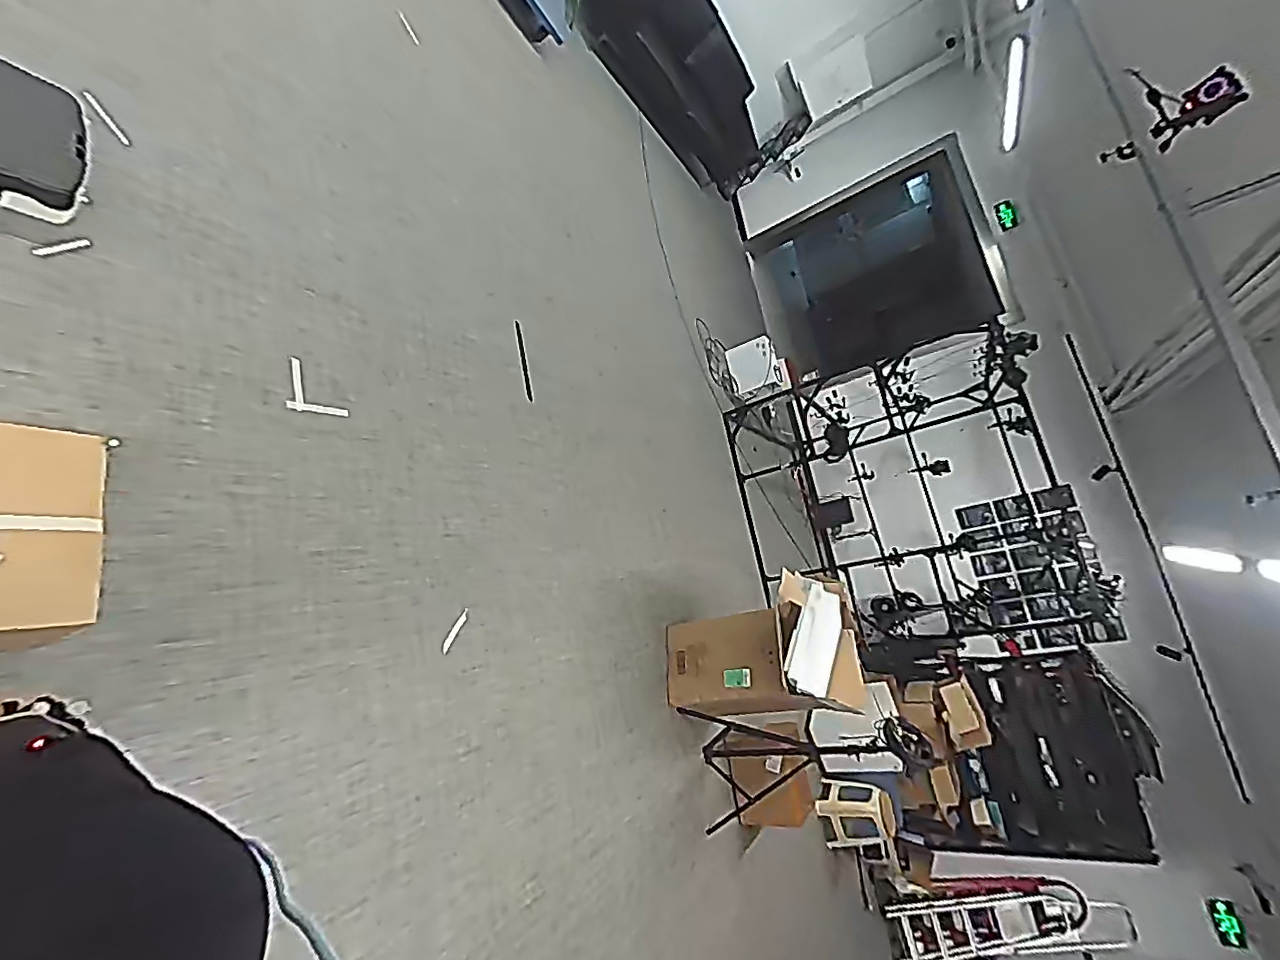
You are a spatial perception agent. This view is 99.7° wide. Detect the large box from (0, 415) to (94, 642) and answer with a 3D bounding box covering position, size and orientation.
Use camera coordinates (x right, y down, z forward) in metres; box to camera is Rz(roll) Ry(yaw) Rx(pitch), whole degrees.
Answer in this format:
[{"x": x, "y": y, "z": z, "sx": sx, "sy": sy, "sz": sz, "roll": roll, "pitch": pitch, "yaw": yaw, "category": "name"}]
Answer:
[{"x": -1.103, "y": 0.078, "z": 0.757, "sx": 0.408, "sy": 0.320, "sz": 0.320, "roll": 14, "pitch": 63, "yaw": -59, "category": "large box"}]
